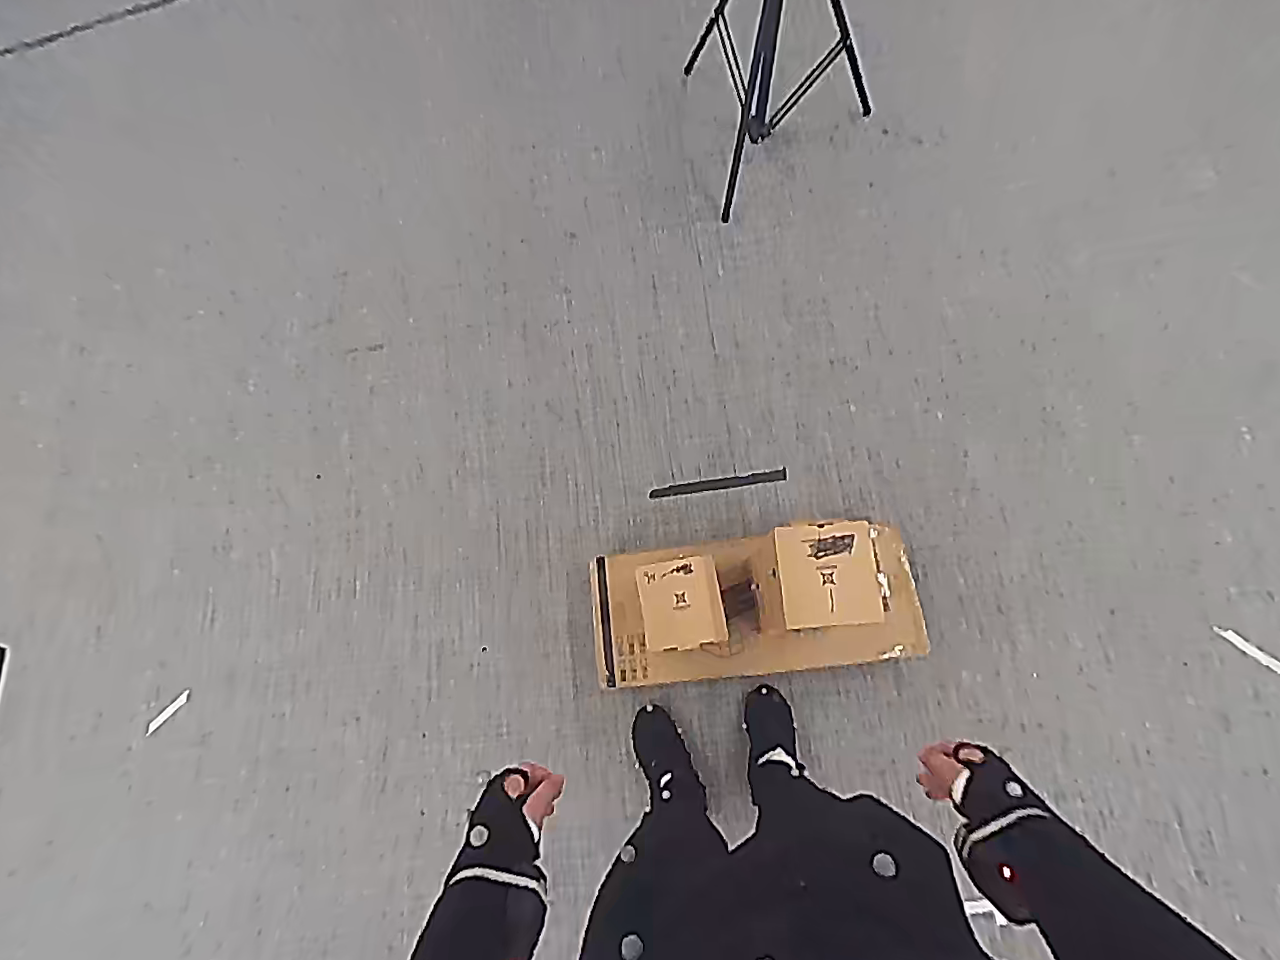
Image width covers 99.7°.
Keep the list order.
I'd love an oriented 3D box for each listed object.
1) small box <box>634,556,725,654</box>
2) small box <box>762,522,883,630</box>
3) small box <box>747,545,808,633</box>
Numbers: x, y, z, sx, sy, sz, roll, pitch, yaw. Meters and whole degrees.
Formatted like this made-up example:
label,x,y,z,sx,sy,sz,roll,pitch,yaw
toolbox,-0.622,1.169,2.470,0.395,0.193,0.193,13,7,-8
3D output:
label,x,y,z,sx,sy,sz,roll,pitch,yaw
small box,0.086,0.270,1.169,0.168,0.176,0.179,-10,75,2
small box,0.326,0.183,1.002,0.168,0.176,0.179,-5,74,4
small box,0.331,0.230,1.159,0.168,0.176,0.179,-8,74,3
